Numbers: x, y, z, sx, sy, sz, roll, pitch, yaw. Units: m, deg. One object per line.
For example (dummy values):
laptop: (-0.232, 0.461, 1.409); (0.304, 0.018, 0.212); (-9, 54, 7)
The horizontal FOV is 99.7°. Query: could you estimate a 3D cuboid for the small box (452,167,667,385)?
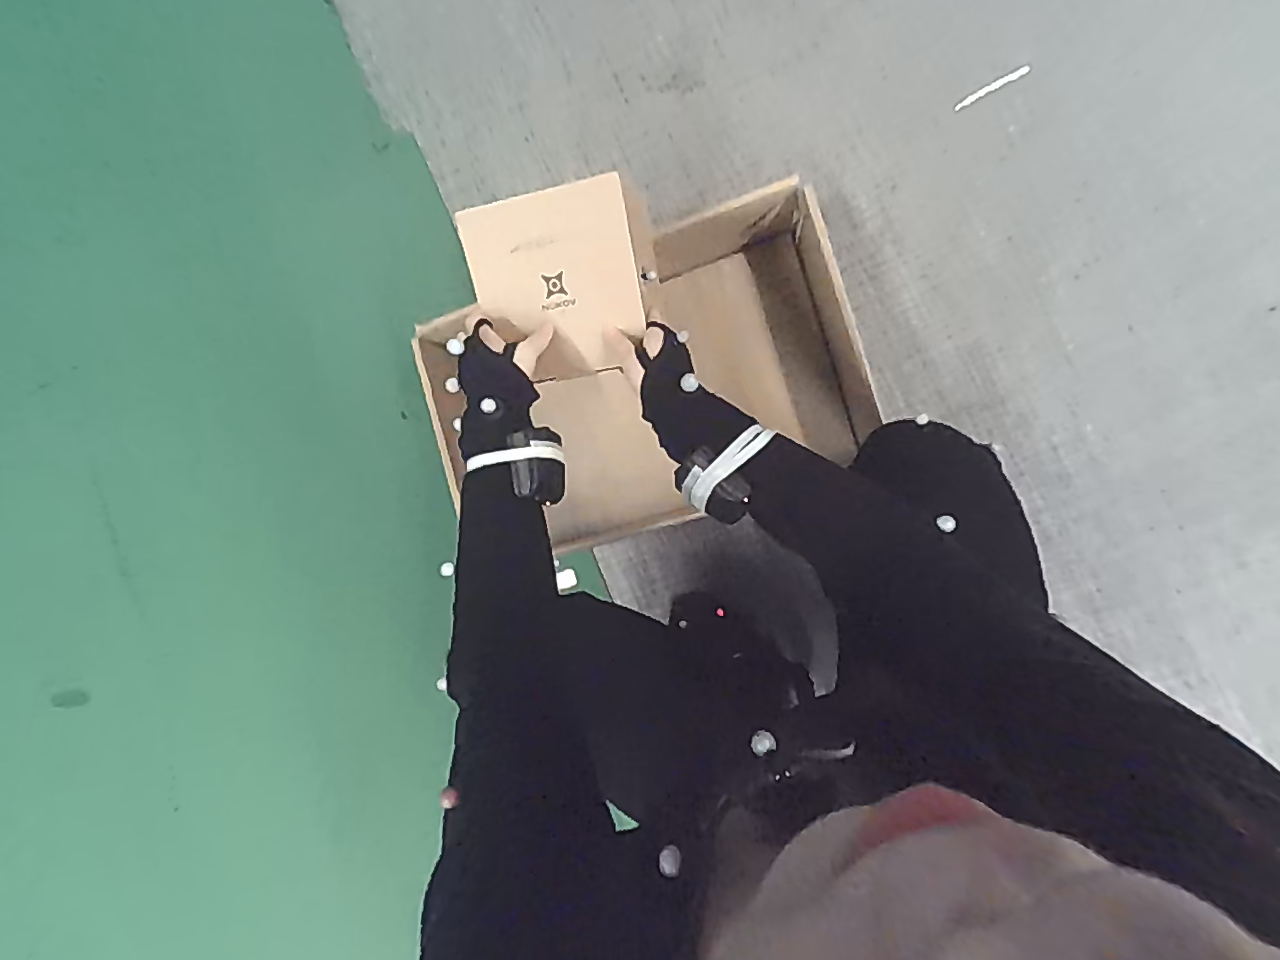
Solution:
small box: (-0.069, -0.217, 0.589); (0.168, 0.176, 0.179); (-7, 111, 12)
